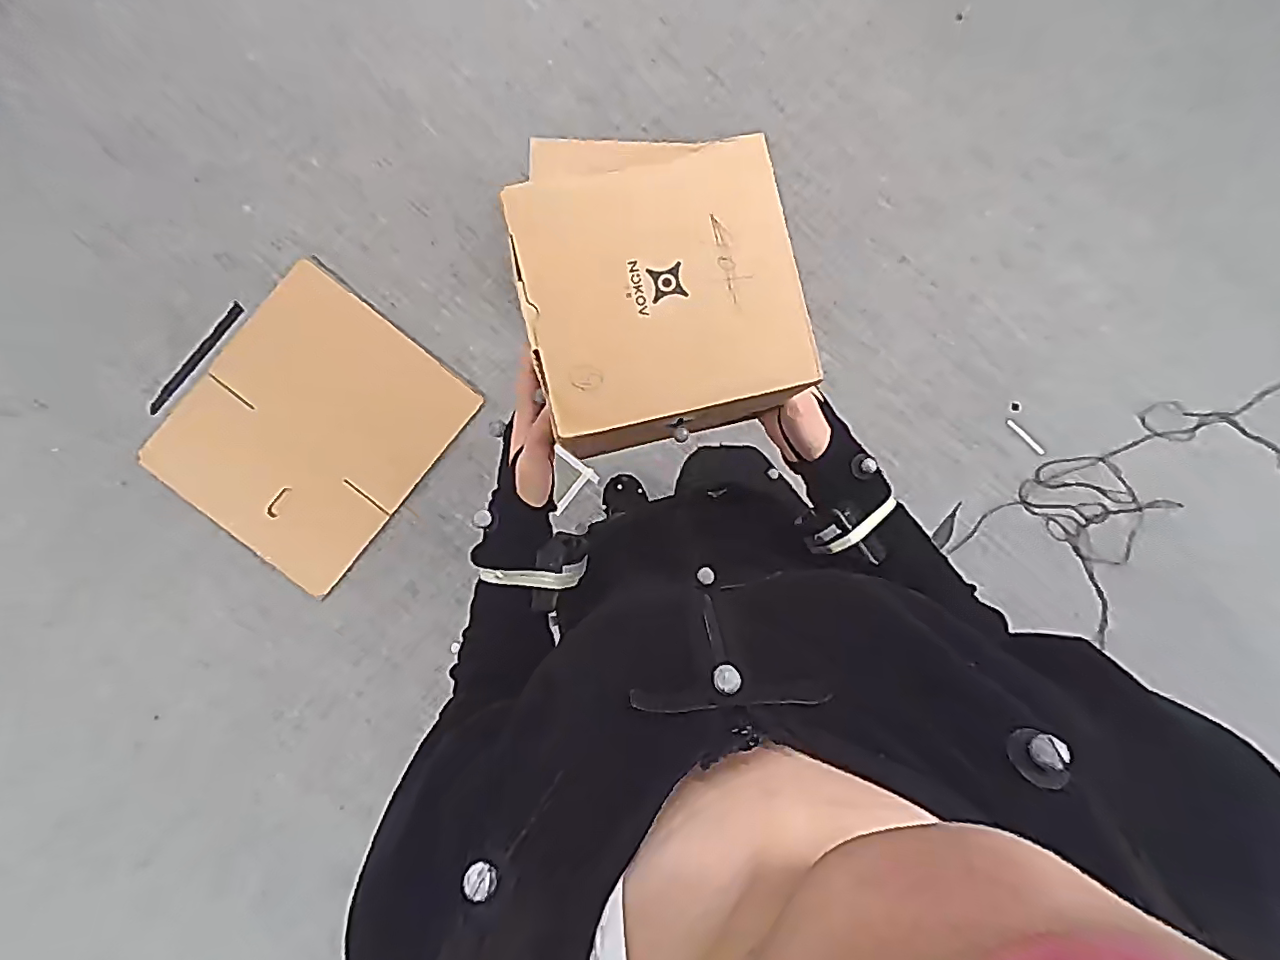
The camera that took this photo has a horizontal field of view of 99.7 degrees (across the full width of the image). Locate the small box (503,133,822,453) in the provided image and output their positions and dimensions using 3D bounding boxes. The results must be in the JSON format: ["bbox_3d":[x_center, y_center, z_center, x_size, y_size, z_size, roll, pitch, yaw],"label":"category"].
[{"bbox_3d":[0.012,-0.122,0.420,0.179,0.176,0.168,-13,89,-3],"label":"small box"}]
